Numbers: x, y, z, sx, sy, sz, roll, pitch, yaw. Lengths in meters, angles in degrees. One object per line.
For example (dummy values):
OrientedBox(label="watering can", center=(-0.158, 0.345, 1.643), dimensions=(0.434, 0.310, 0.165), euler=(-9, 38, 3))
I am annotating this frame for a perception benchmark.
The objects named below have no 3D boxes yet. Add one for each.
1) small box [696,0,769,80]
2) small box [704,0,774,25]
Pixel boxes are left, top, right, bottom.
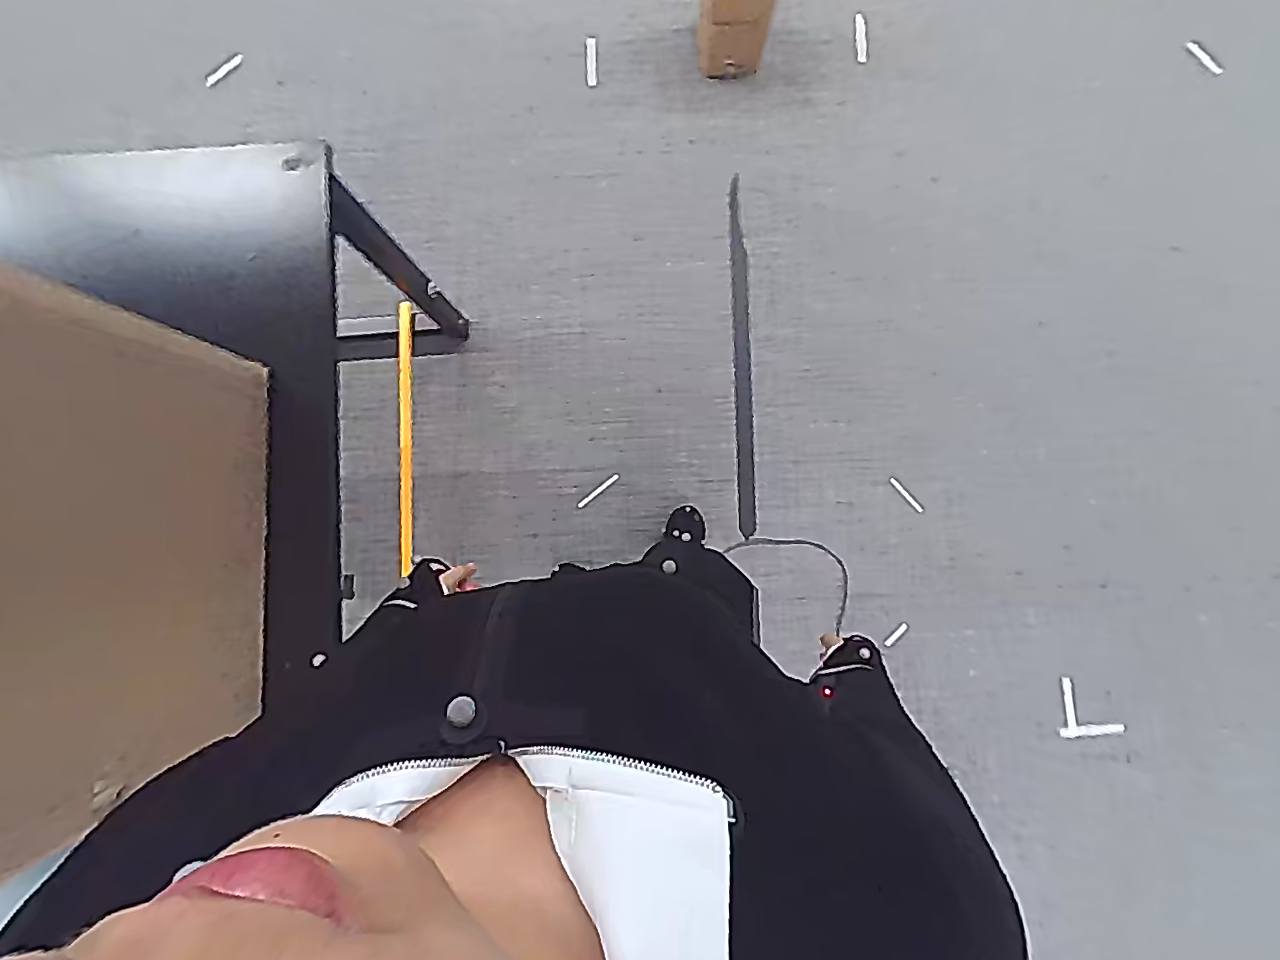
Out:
OrientedBox(label="small box", center=(0.253, -1.276, 1.518), dimensions=(0.168, 0.176, 0.179), euler=(-8, 87, 0))
OrientedBox(label="small box", center=(0.253, -1.288, 1.353), dimensions=(0.179, 0.176, 0.168), euler=(-3, 86, 0))
